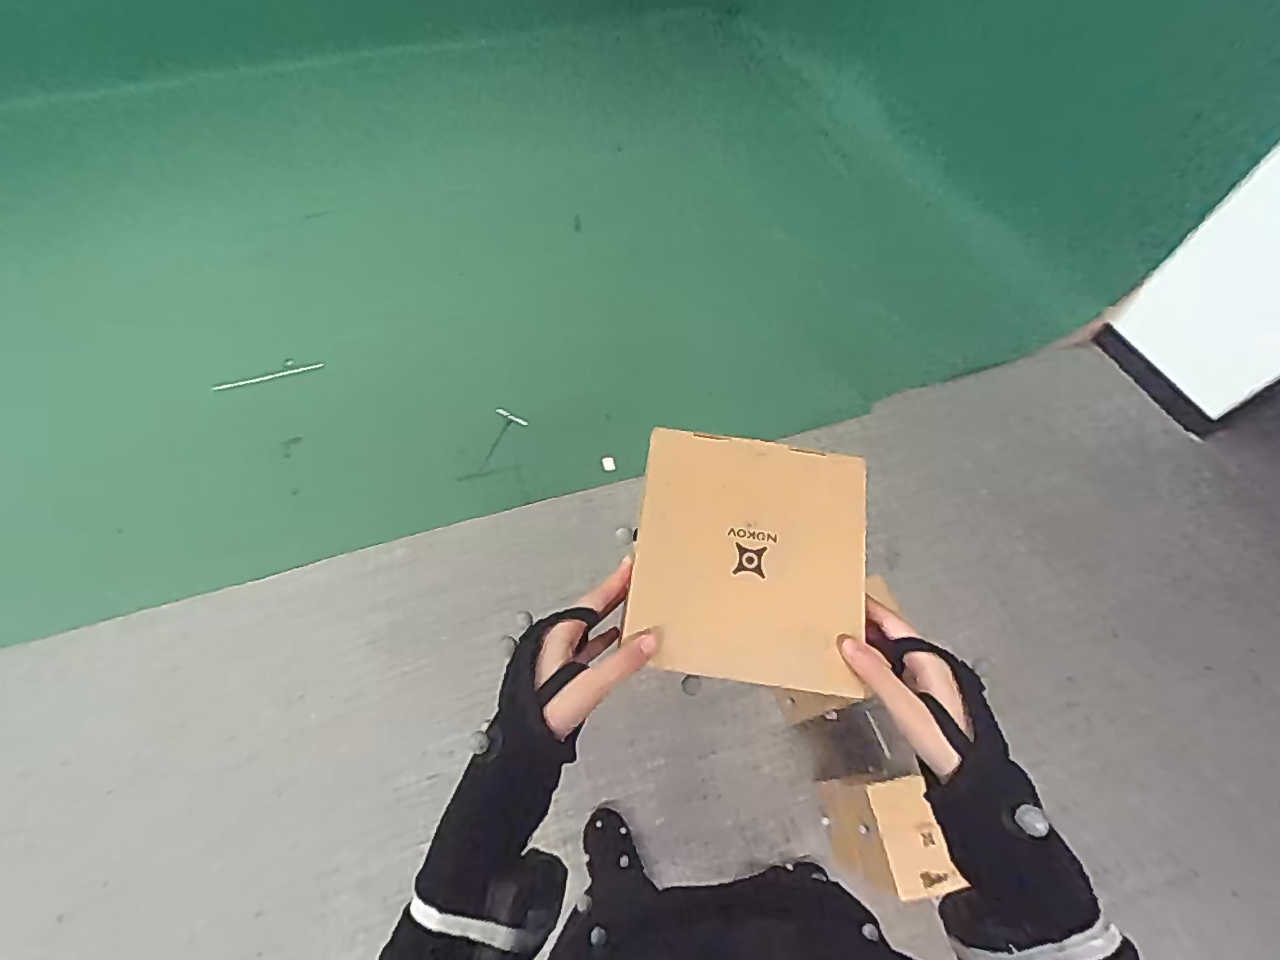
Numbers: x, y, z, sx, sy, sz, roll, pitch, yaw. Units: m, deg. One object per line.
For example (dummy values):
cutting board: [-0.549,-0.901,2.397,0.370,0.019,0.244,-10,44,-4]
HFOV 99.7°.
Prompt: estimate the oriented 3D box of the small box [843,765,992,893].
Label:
small box: [0.505,0.654,1.020,0.168,0.176,0.179,-7,58,-3]

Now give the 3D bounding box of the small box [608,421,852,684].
small box: [0.068,0.071,0.465,0.168,0.176,0.179,7,70,0]

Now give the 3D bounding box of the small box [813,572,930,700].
small box: [0.404,0.306,1.034,0.168,0.176,0.179,-16,59,-9]

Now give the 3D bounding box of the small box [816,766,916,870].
small box: [0.507,0.724,1.169,0.179,0.176,0.168,-7,59,-3]
